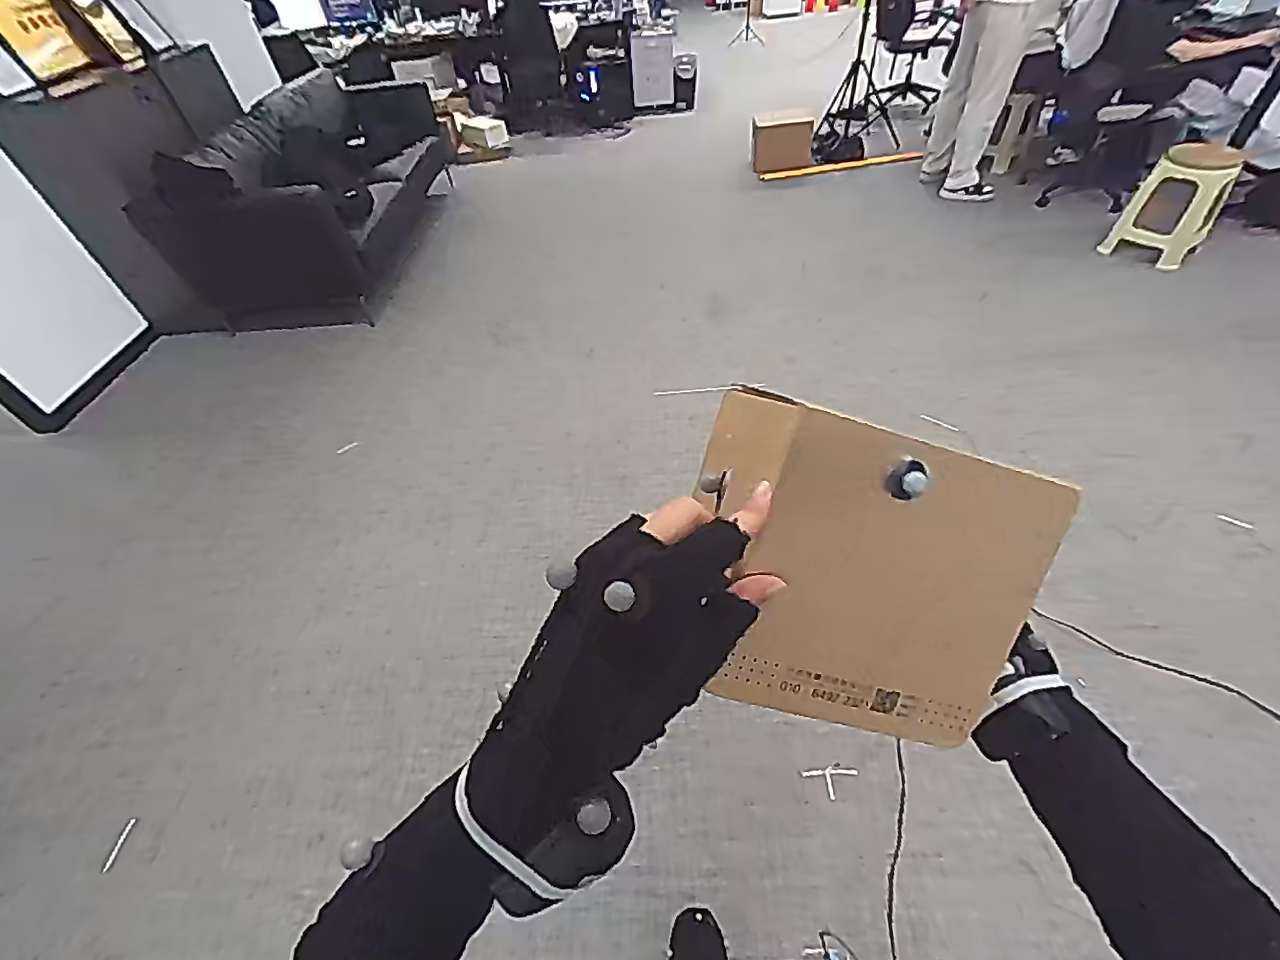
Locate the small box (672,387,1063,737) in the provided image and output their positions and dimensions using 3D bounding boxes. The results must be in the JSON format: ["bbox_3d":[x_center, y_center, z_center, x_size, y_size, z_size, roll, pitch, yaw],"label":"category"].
[{"bbox_3d":[0.130,0.043,0.387,0.168,0.176,0.179,16,12,-7],"label":"small box"}]
